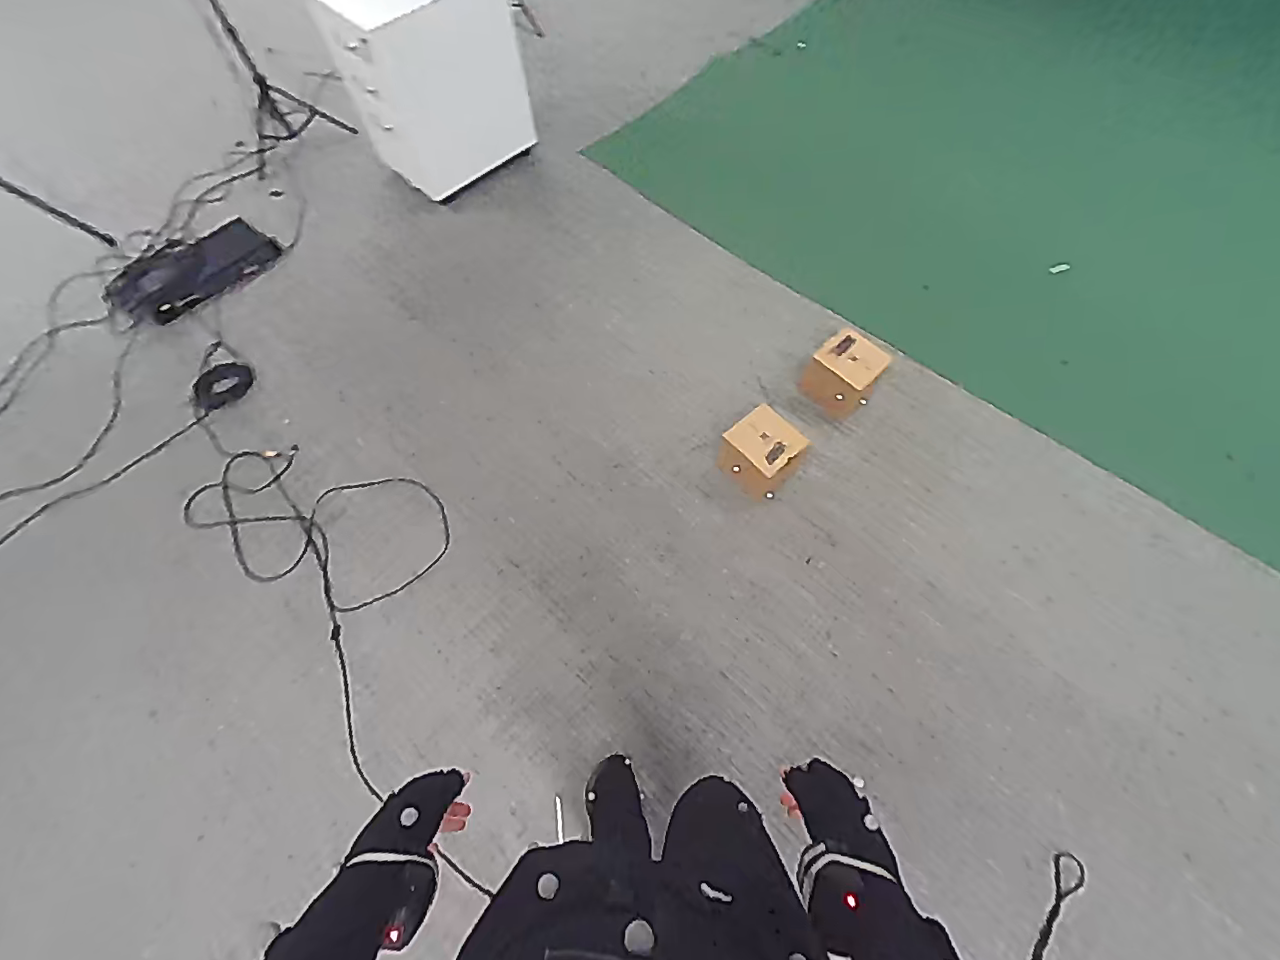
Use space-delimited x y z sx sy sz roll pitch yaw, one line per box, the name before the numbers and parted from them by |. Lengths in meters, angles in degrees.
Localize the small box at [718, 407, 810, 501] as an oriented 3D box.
small box | 0.339 -0.063 1.514 0.168 0.176 0.179 -38 67 -17
